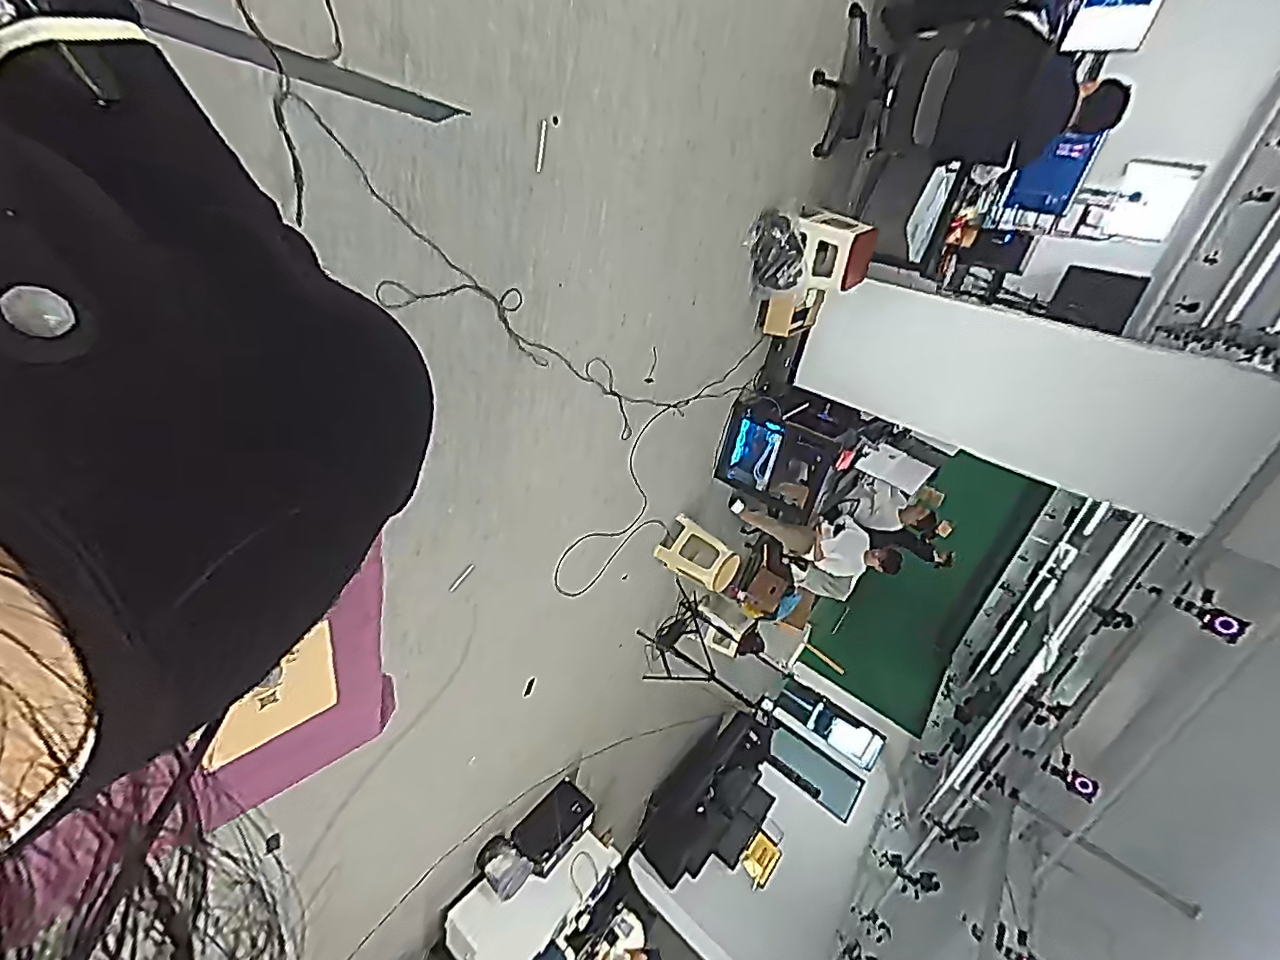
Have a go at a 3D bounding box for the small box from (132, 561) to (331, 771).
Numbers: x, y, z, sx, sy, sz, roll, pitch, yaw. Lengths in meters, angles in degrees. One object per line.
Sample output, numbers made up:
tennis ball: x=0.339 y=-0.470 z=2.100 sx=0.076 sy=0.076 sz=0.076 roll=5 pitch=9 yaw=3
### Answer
small box: x=-0.558 y=0.245 z=0.750 sx=0.168 sy=0.176 sz=0.179 roll=-24 pitch=135 yaw=-48
